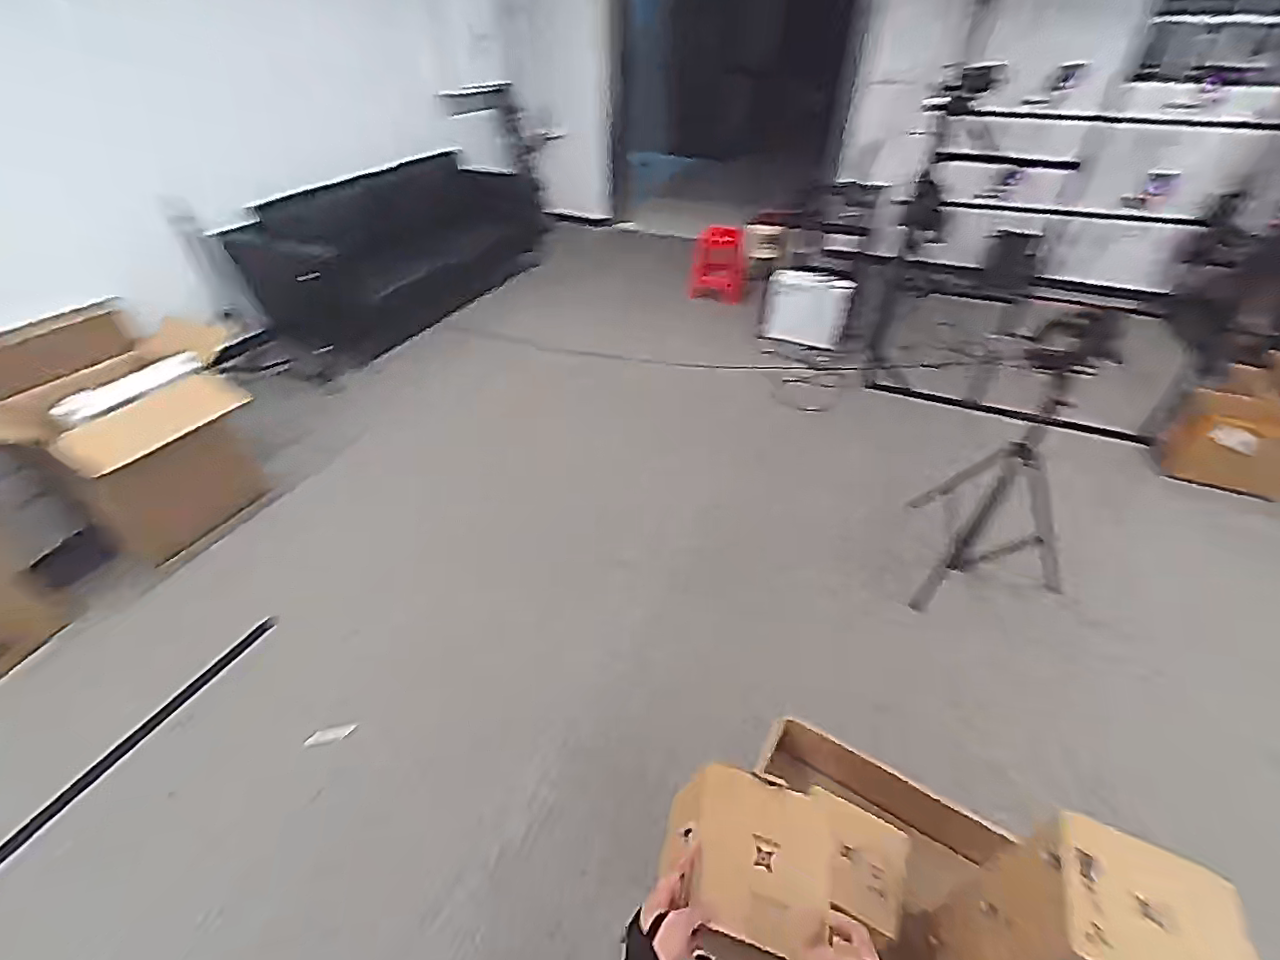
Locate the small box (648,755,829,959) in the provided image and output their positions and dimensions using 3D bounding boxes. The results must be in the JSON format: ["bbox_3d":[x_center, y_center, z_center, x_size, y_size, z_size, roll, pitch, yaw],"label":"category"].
[{"bbox_3d":[0.120,0.491,0.679,0.168,0.176,0.179,21,40,2],"label":"small box"}]

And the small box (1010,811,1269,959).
[{"bbox_3d":[0.575,0.544,0.638,0.179,0.176,0.168,20,42,21],"label":"small box"}]

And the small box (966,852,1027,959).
[{"bbox_3d":[0.569,0.671,0.741,0.168,0.176,0.179,22,43,23],"label":"small box"}]
